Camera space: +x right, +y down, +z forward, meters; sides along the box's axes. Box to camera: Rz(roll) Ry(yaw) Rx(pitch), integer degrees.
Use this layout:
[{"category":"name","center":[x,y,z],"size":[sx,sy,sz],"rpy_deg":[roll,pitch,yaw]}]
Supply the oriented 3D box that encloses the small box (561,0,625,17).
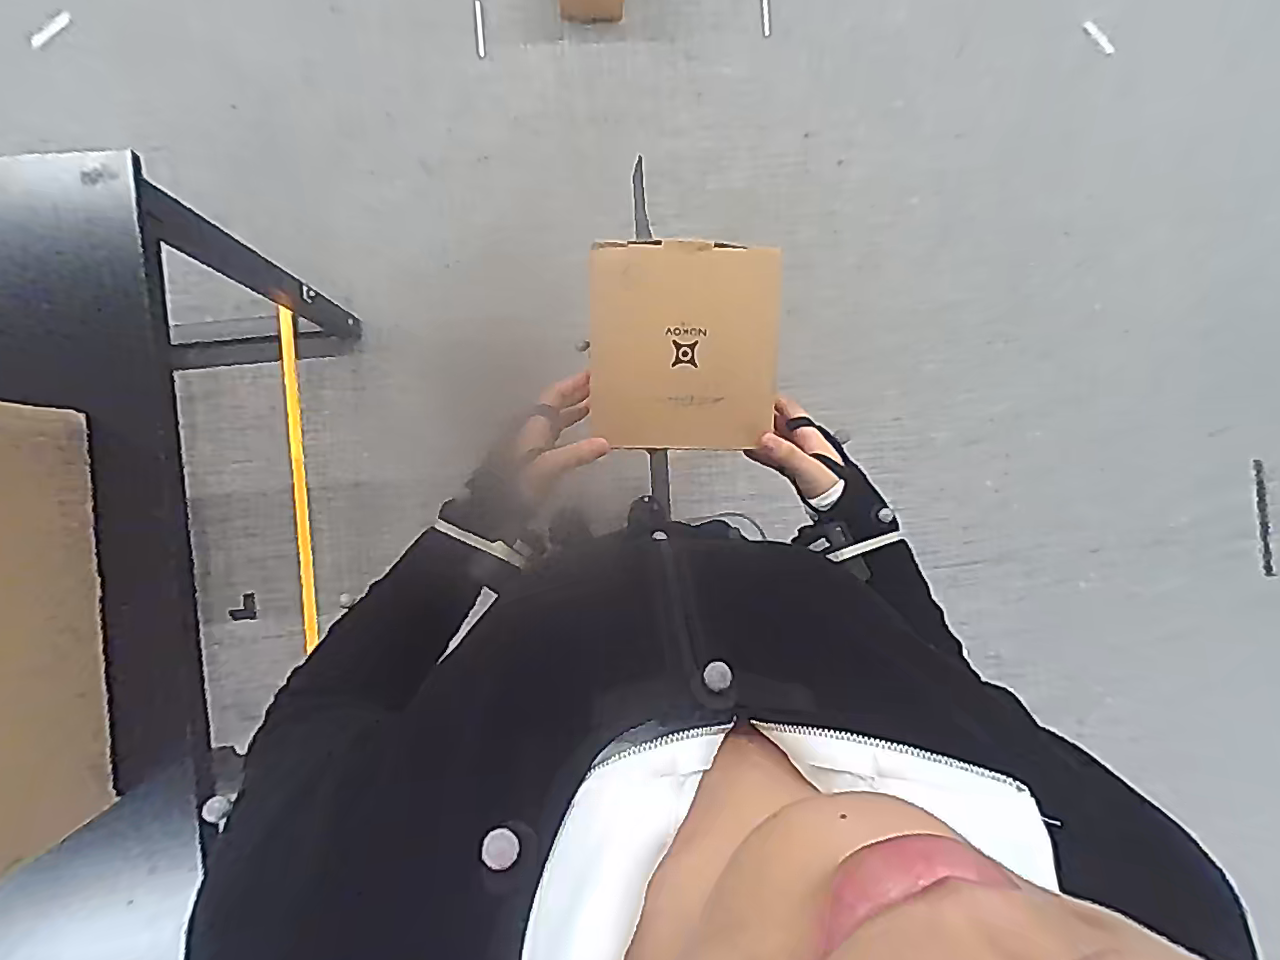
[{"category":"small box","center":[-0.124,-1.356,1.405],"size":[0.179,0.176,0.168],"rpy_deg":[-1,91,-5]}]
